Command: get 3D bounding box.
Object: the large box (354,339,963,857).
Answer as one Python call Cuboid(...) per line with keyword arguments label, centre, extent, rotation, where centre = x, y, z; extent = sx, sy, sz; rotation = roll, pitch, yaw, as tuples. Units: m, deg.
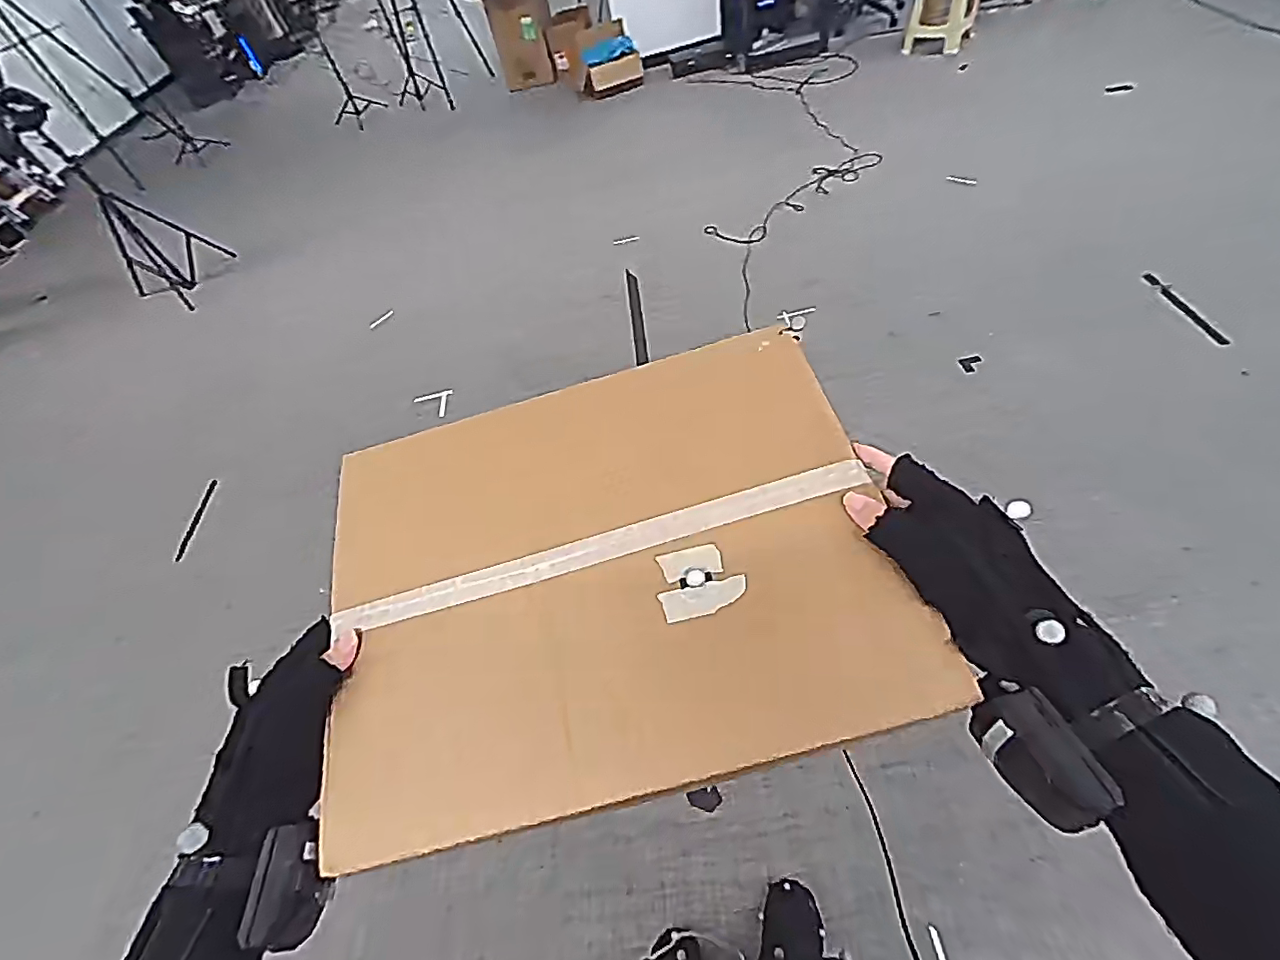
Cuboid(label="large box", centre=(0.000, 0.127, 0.537), extent=(0.408, 0.320, 0.320), rotation=(-16, 60, 2))
